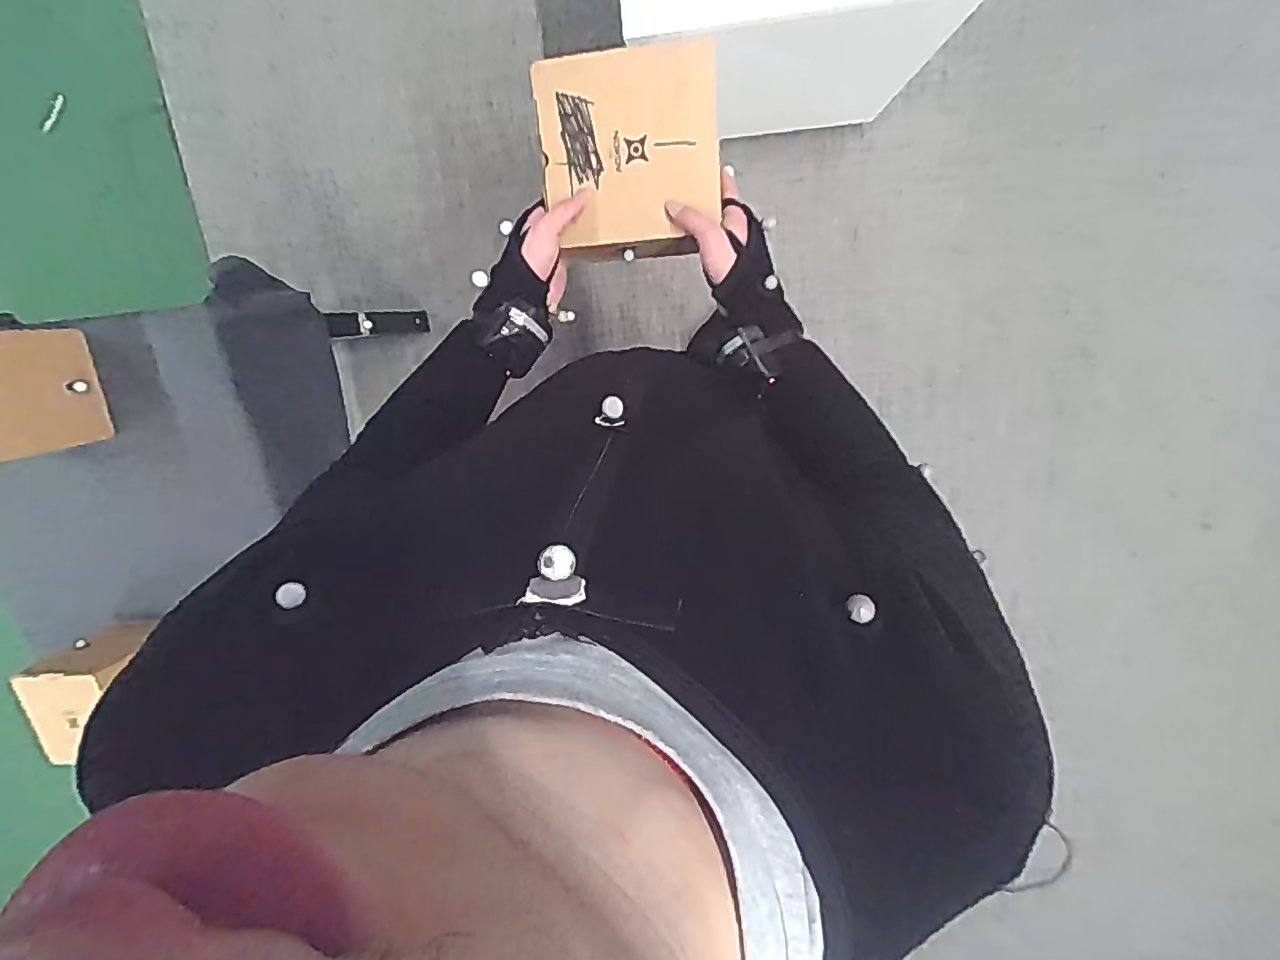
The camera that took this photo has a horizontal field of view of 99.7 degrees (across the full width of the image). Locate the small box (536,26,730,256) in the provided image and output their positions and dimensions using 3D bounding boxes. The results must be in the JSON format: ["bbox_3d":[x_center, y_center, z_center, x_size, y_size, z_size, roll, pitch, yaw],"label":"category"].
[{"bbox_3d":[0.005,-0.340,0.580,0.179,0.176,0.168,-2,108,7],"label":"small box"}]

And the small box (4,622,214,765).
[{"bbox_3d":[-0.906,0.362,0.943,0.168,0.176,0.179,-4,109,8],"label":"small box"}]

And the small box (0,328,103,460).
[{"bbox_3d":[-0.955,-0.128,0.783,0.168,0.176,0.179,0,108,5],"label":"small box"}]
